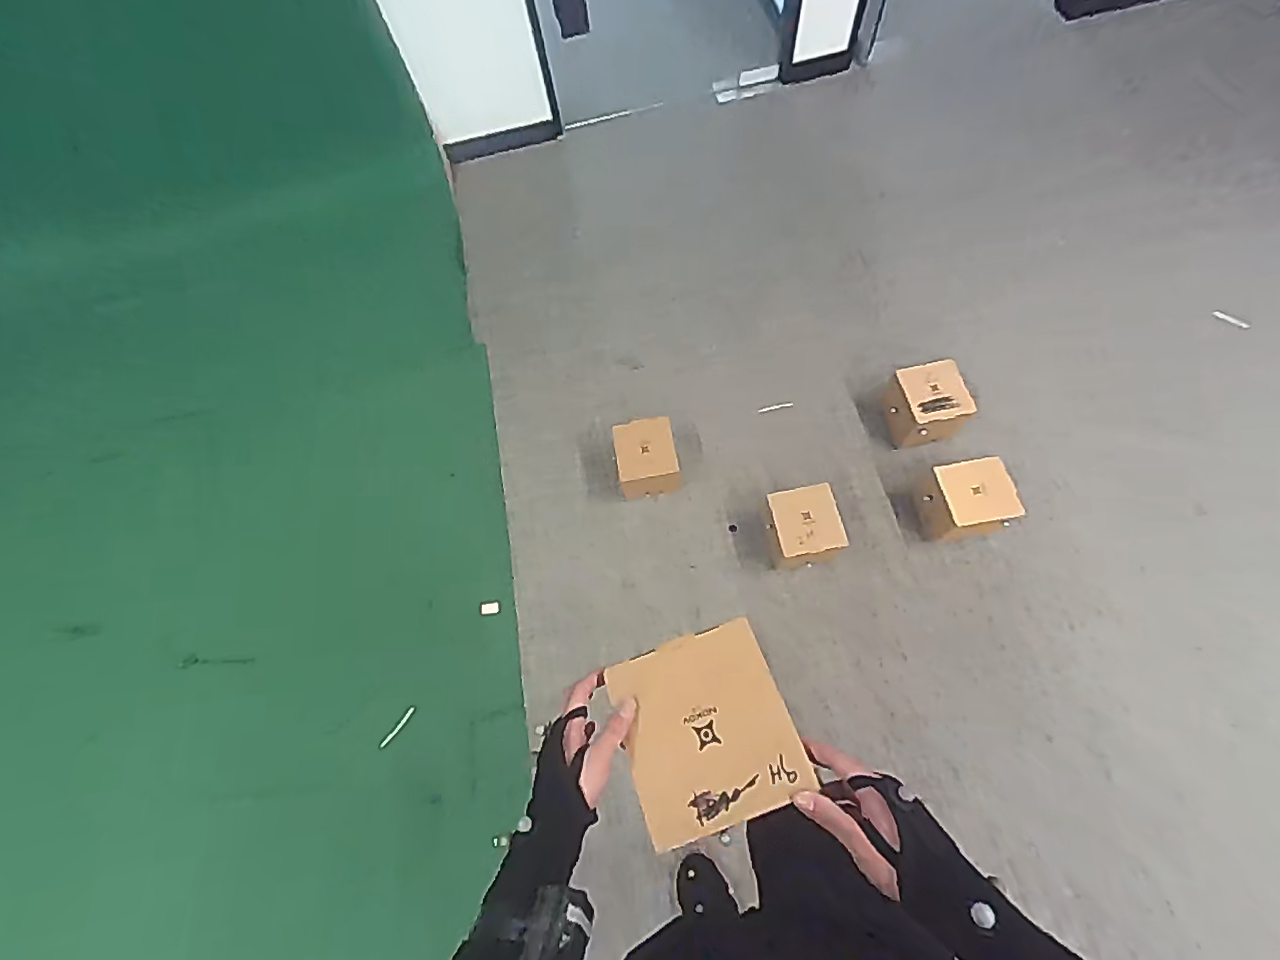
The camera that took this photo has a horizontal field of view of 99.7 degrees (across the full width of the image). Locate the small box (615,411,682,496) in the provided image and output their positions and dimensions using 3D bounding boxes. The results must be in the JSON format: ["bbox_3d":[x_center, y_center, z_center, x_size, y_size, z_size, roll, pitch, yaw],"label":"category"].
[{"bbox_3d":[0.027,-0.072,1.551,0.168,0.176,0.179,-10,68,2],"label":"small box"}]

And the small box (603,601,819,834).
[{"bbox_3d":[0.073,0.263,0.600,0.168,0.176,0.179,-21,60,-2],"label":"small box"}]

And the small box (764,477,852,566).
[{"bbox_3d":[0.435,0.115,1.432,0.168,0.176,0.179,-11,68,2],"label":"small box"}]

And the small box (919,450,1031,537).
[{"bbox_3d":[0.863,0.042,1.420,0.179,0.176,0.168,-10,68,1],"label":"small box"}]
